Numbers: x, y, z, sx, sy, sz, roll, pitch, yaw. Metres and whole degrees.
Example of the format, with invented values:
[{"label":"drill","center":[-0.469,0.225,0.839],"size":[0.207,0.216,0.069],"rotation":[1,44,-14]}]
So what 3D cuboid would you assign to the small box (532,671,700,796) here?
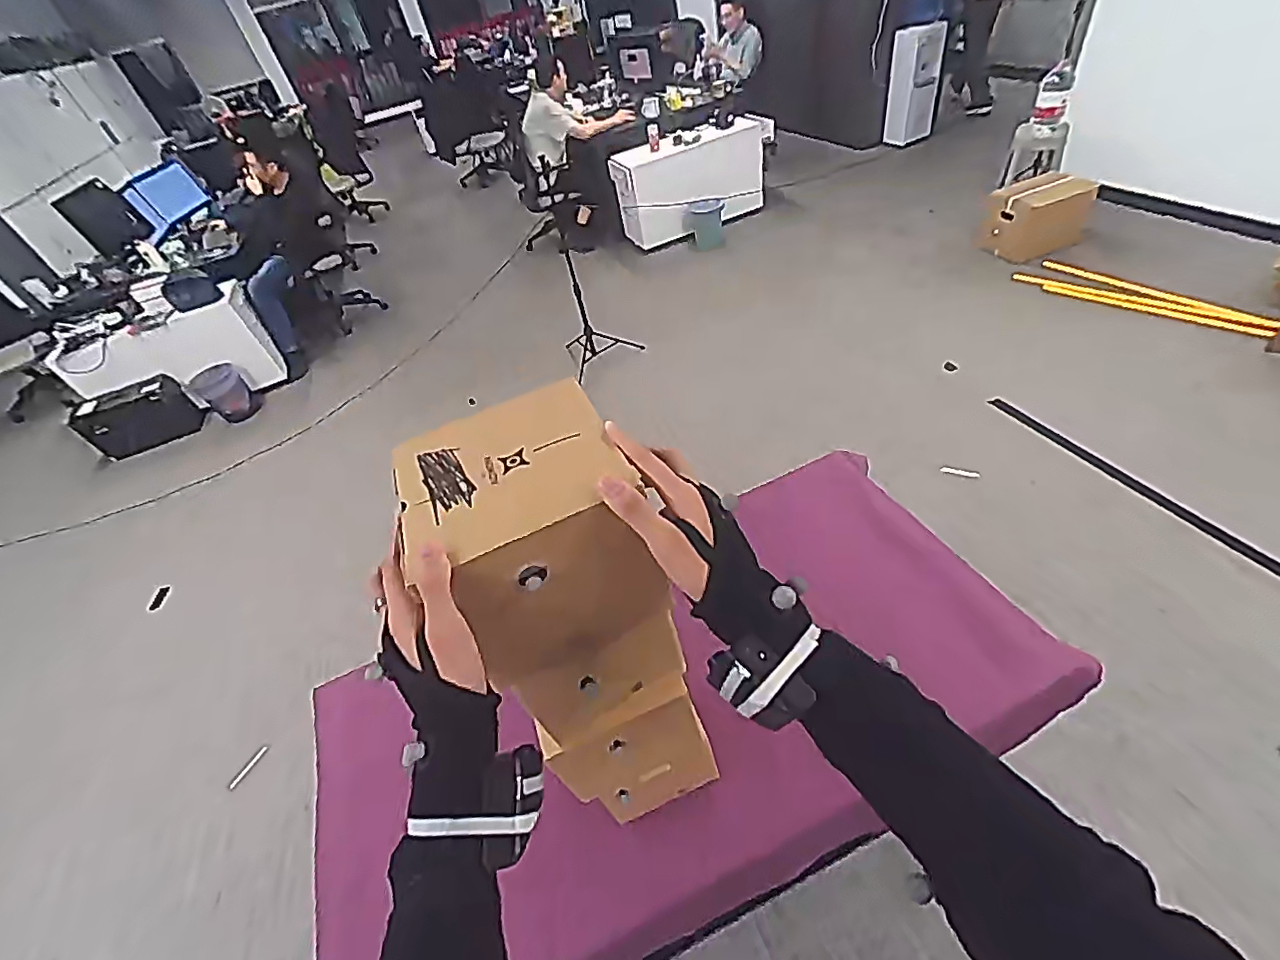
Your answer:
[{"label":"small box","center":[-0.038,0.279,0.708],"size":[0.179,0.176,0.168],"rotation":[-22,45,-7]}]

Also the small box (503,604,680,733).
[{"label":"small box","center":[-0.071,0.154,0.608],"size":[0.168,0.176,0.179],"rotation":[-28,44,-13]}]

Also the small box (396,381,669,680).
[{"label":"small box","center":[-0.092,0.046,0.485],"size":[0.179,0.176,0.168],"rotation":[-24,45,-9]}]
